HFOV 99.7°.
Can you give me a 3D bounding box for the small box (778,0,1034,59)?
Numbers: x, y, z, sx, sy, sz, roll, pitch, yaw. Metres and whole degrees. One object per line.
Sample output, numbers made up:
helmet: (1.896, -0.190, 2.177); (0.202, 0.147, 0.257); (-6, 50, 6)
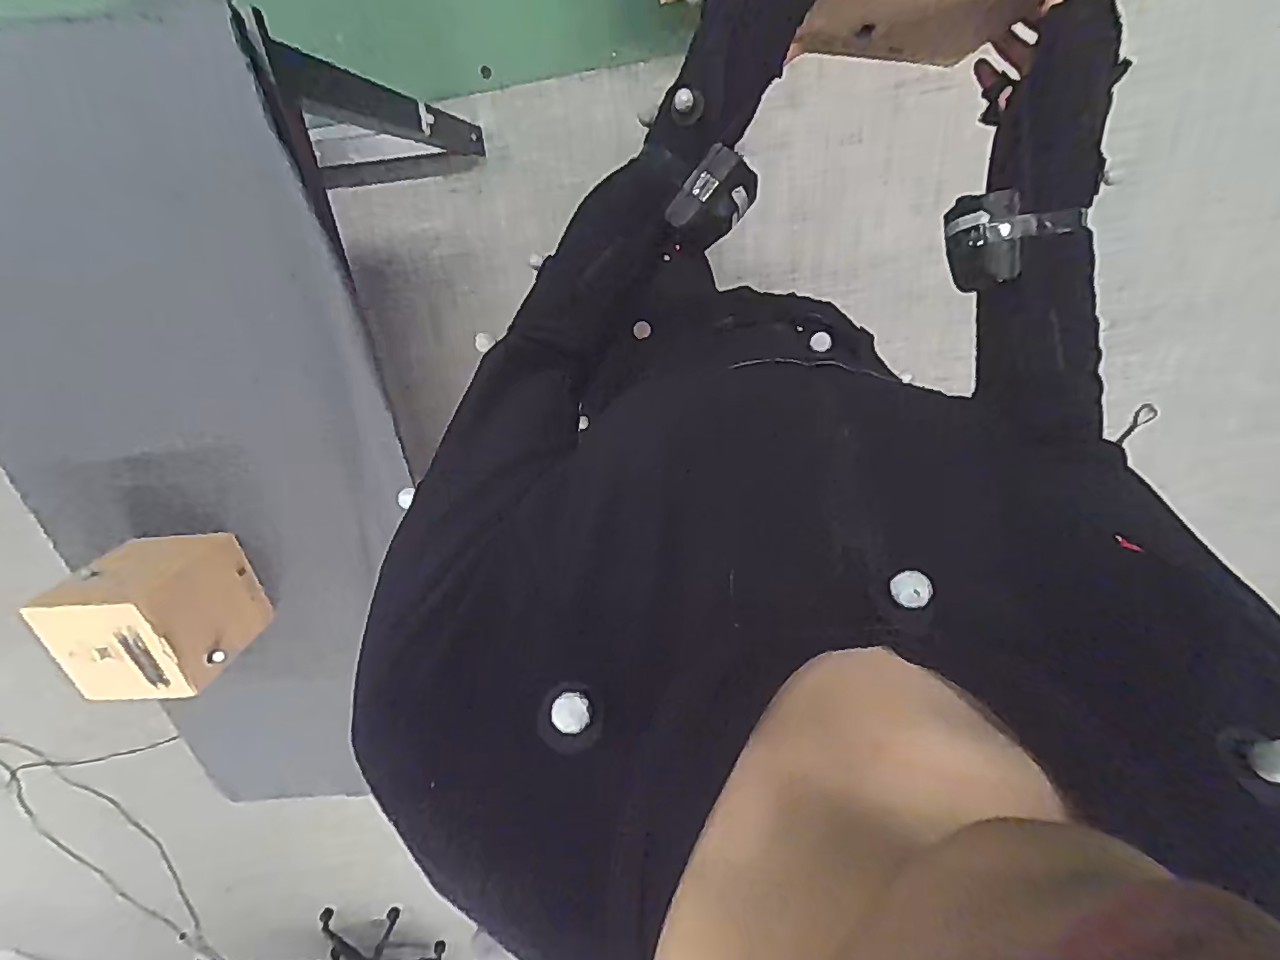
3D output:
small box: (0.201, -0.430, 0.371); (0.168, 0.176, 0.179); (7, 114, 2)
